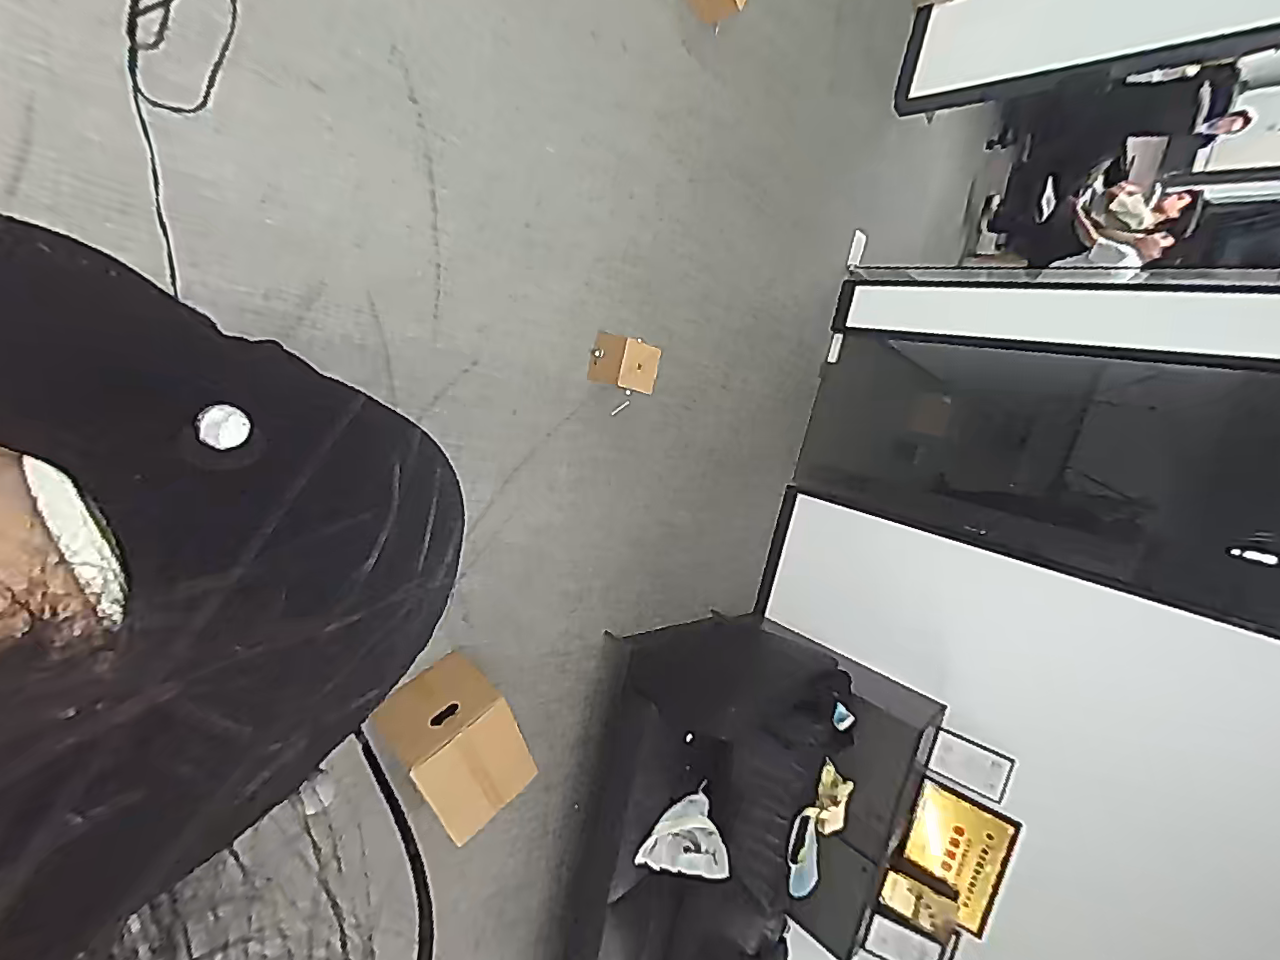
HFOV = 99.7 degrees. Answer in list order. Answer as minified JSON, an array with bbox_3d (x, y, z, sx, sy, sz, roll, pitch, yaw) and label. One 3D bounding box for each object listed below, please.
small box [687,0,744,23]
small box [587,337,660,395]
[{"bbox_3d":[0.243,-1.645,1.755,0.179,0.176,0.168,23,89,-48],"label":"small box"},{"bbox_3d":[-0.061,-0.411,1.938,0.179,0.176,0.168,5,101,-46],"label":"small box"}]
